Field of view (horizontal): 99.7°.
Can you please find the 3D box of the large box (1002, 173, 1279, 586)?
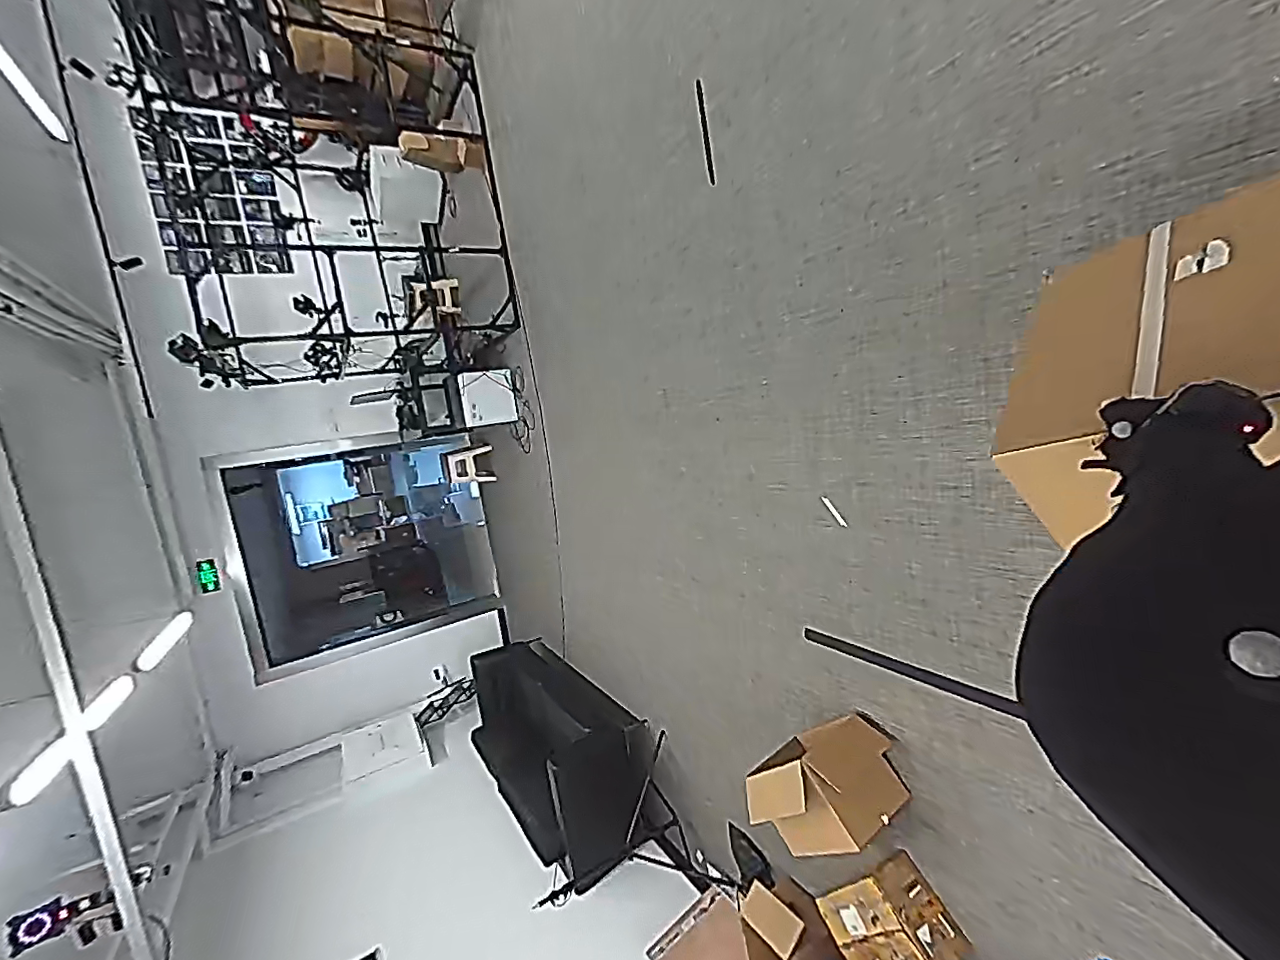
[{"bbox_3d":[0.749,-0.114,0.709,0.320,0.408,0.320,43,152,-17],"label":"large box"}]
